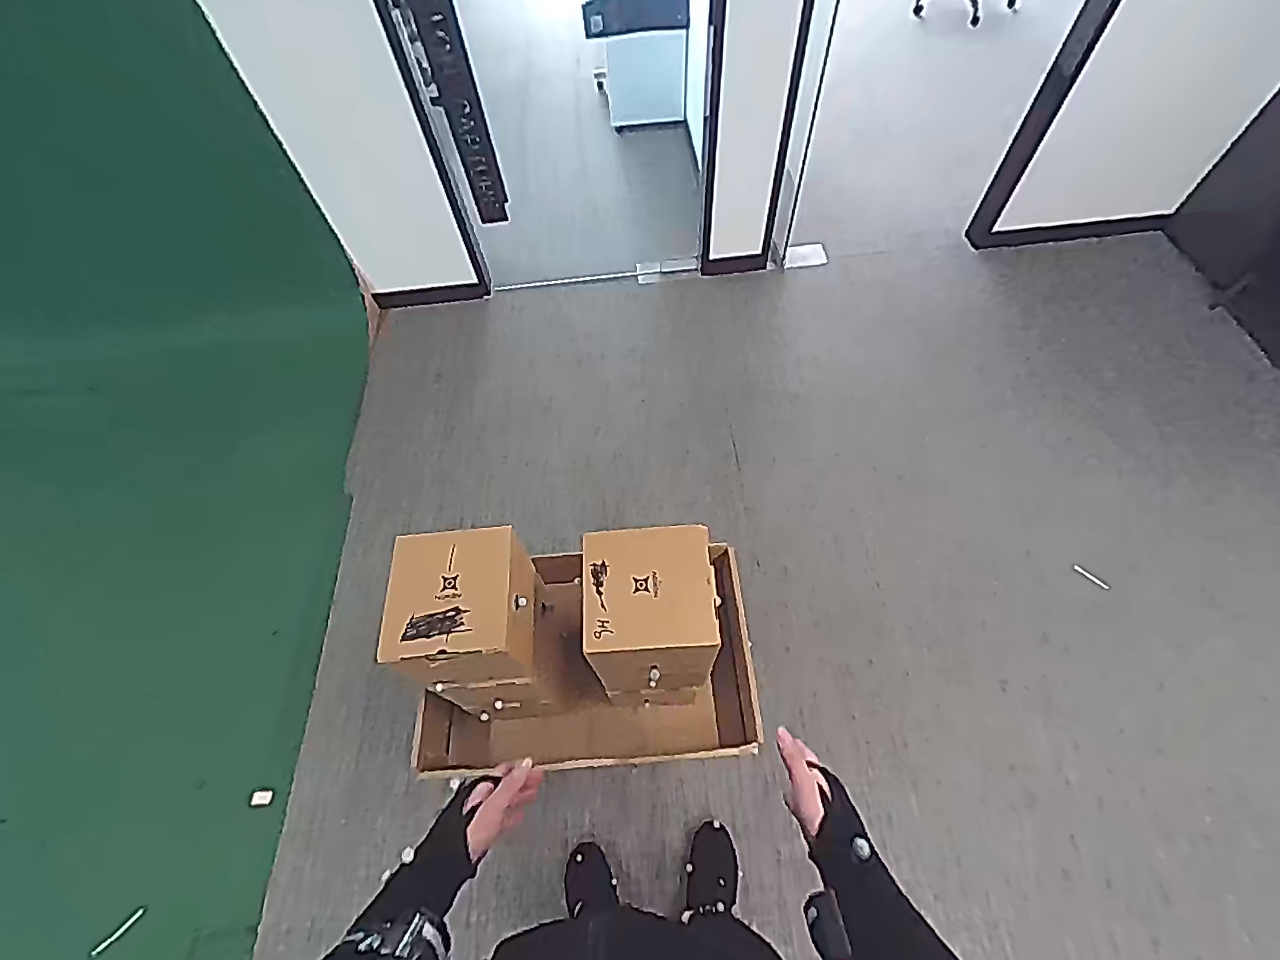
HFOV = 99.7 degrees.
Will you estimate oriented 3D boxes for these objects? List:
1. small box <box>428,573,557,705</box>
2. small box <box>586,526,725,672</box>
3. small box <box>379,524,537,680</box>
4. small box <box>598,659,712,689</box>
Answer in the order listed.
[{"bbox_3d":[-0.236,0.272,0.916,0.168,0.176,0.179,-4,59,0],"label":"small box"},{"bbox_3d":[0.018,0.176,0.777,0.179,0.176,0.168,-3,61,0],"label":"small box"},{"bbox_3d":[-0.246,0.182,0.778,0.168,0.176,0.179,-5,58,-1],"label":"small box"},{"bbox_3d":[0.024,0.256,0.919,0.179,0.176,0.168,-2,61,0],"label":"small box"}]
